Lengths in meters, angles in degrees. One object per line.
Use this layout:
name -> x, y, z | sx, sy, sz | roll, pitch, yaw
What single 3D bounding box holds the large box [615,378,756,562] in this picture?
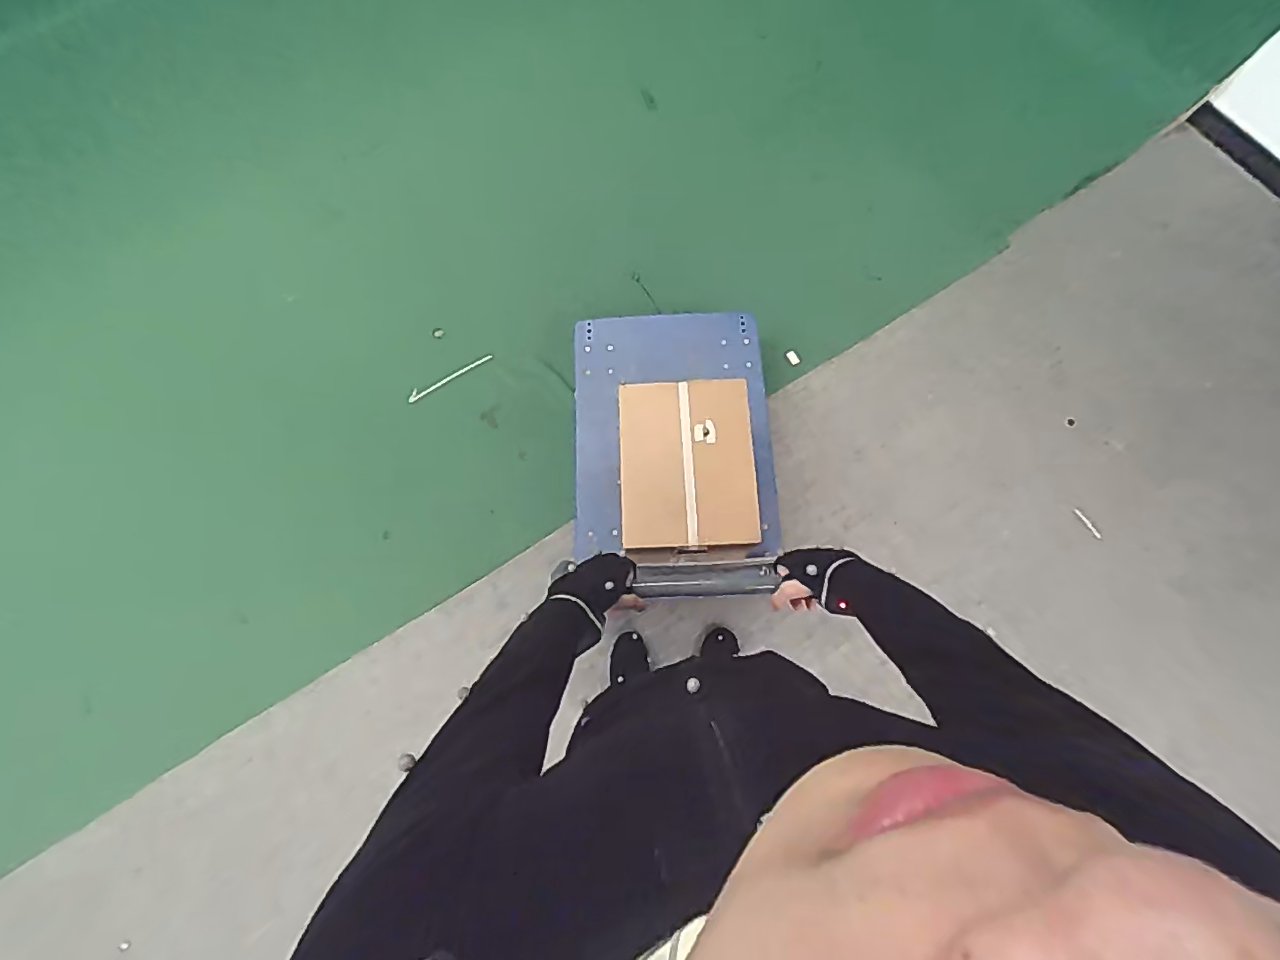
large box -> 0.107, -0.011, 1.415 | 0.320, 0.320, 0.408 | -2, 74, 1
